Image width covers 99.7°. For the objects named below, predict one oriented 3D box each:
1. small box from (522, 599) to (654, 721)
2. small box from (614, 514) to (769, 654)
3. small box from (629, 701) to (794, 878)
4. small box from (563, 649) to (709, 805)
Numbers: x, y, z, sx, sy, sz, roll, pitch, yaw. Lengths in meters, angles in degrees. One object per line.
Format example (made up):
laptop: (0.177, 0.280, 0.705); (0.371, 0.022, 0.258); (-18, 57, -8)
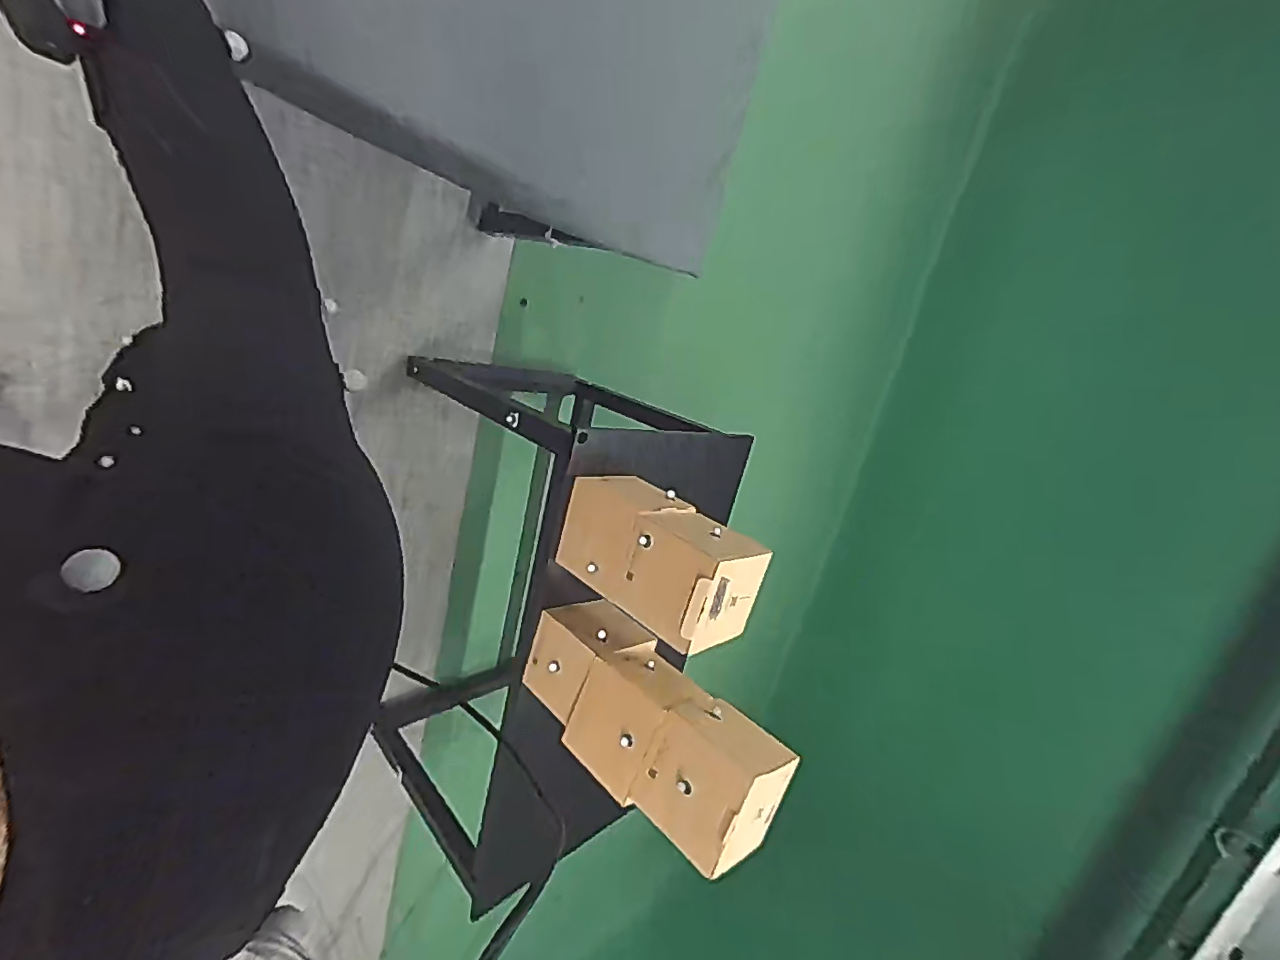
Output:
small box: (-0.108, 0.356, 1.080); (0.179, 0.176, 0.168); (4, 109, -49)
small box: (0.083, 0.164, 0.917); (0.179, 0.176, 0.168); (2, 111, -50)
small box: (0.112, 0.481, 0.874); (0.179, 0.176, 0.168); (21, 94, -50)
small box: (-0.013, 0.427, 0.967); (0.168, 0.176, 0.179); (16, 98, -51)
